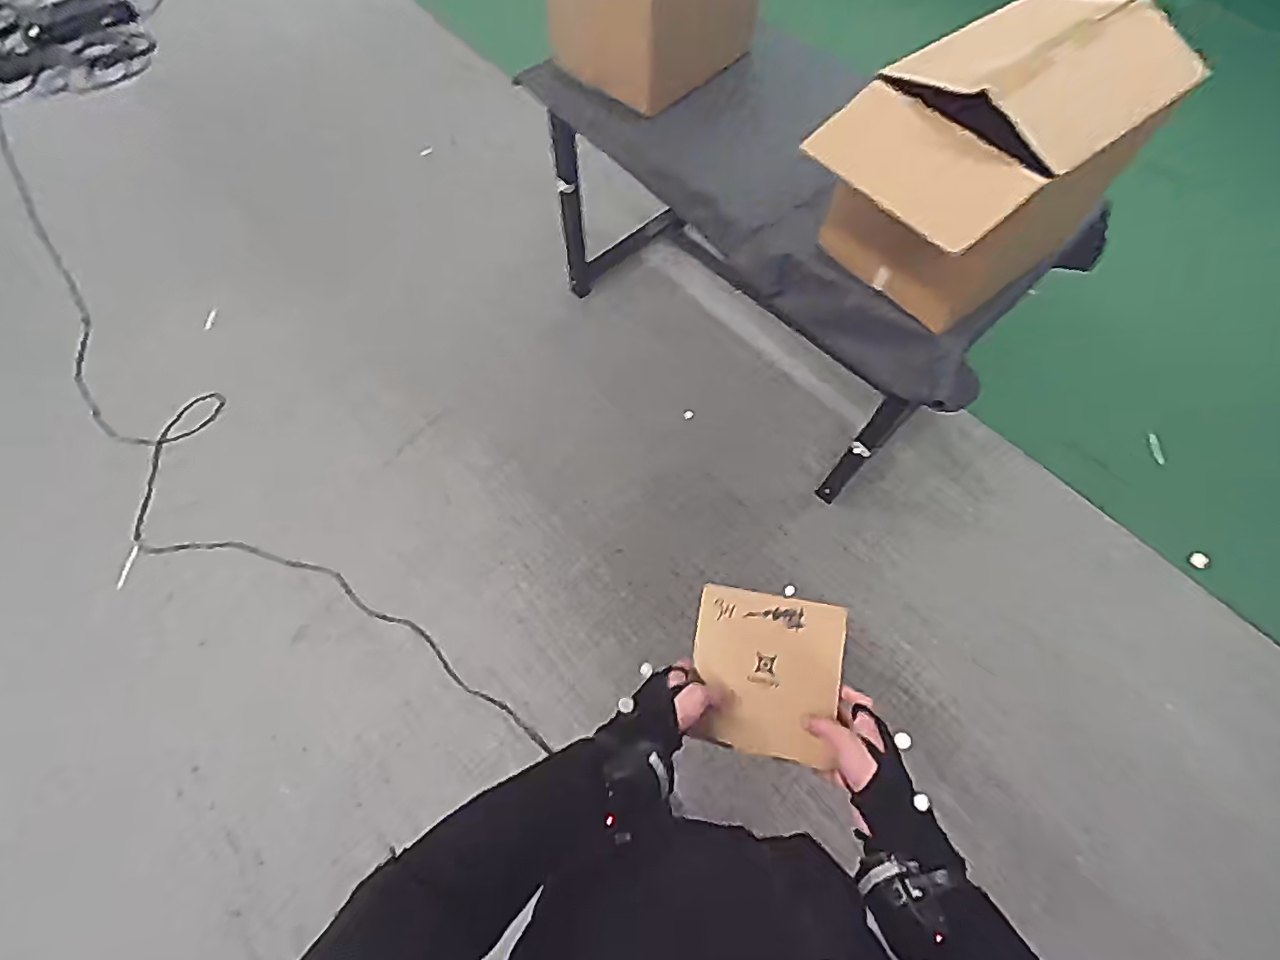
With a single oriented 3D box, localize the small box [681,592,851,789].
[{"bbox_3d":[0.156,0.240,0.668,0.168,0.176,0.179,7,81,15],"label":"small box"}]
